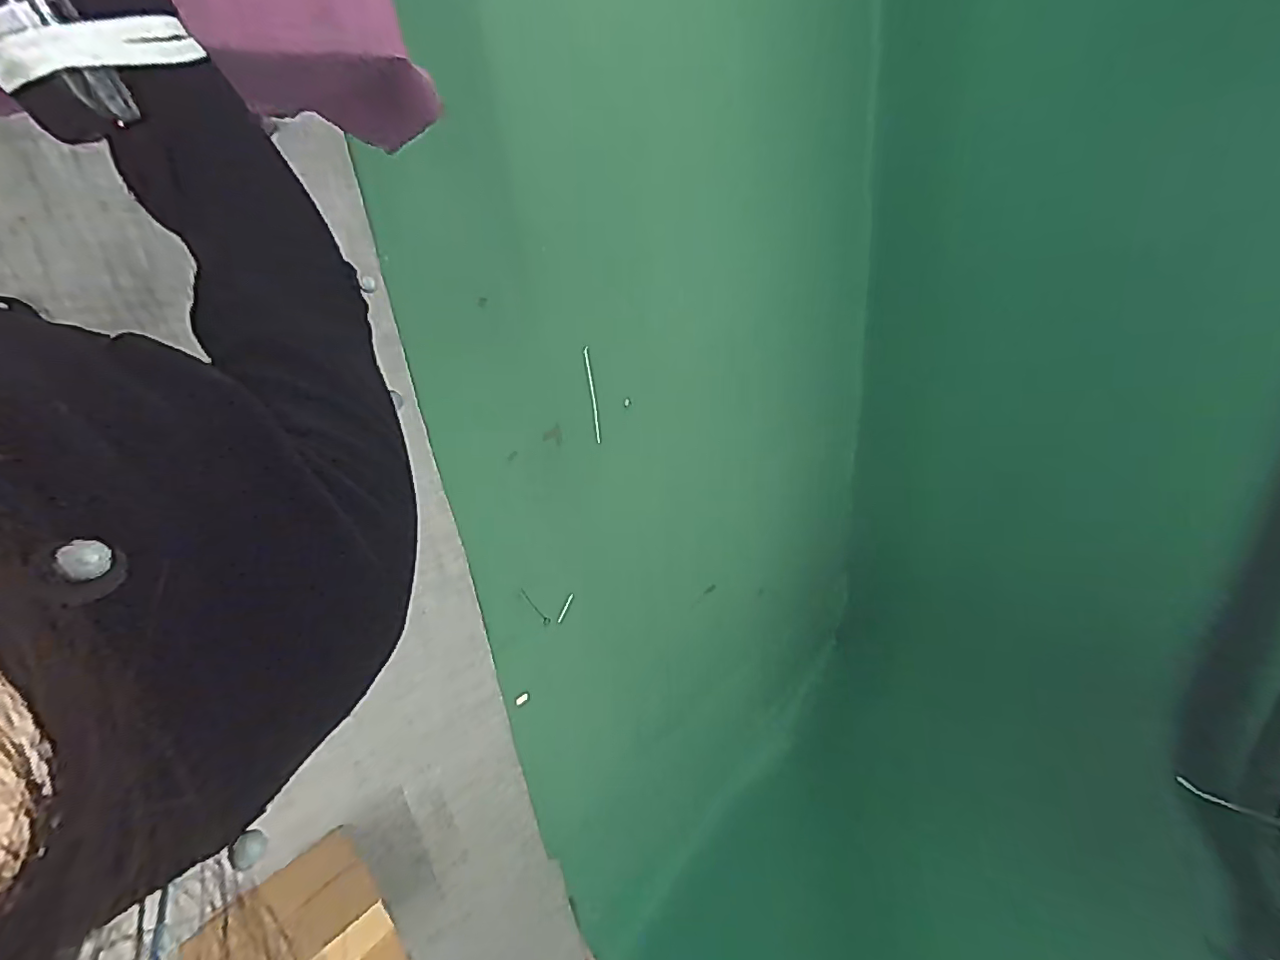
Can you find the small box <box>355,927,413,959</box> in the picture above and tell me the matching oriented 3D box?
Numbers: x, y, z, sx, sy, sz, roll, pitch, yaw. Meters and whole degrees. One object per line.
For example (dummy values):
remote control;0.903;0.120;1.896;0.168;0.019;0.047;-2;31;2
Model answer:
small box;-0.679;1.351;1.423;0.179;0.176;0.168;-31;126;-40
